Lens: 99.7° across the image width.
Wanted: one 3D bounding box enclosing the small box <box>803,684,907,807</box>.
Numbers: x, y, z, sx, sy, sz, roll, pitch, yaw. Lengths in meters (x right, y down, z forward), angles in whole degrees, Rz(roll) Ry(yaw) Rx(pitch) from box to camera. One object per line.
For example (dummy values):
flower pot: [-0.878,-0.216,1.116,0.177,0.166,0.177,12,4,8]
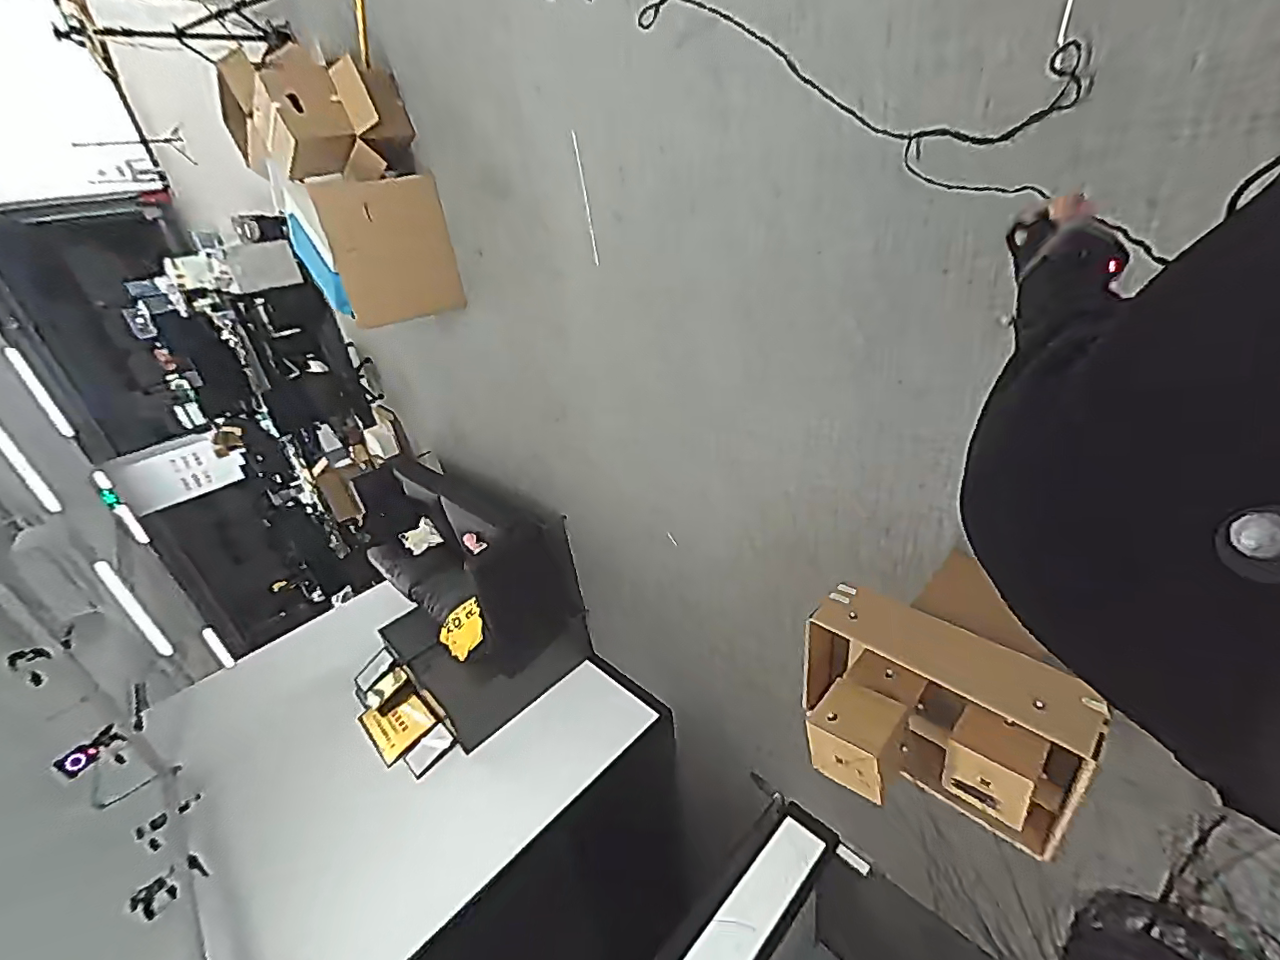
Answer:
small box: [0.520,0.626,1.303,0.179,0.176,0.168,11,124,45]
